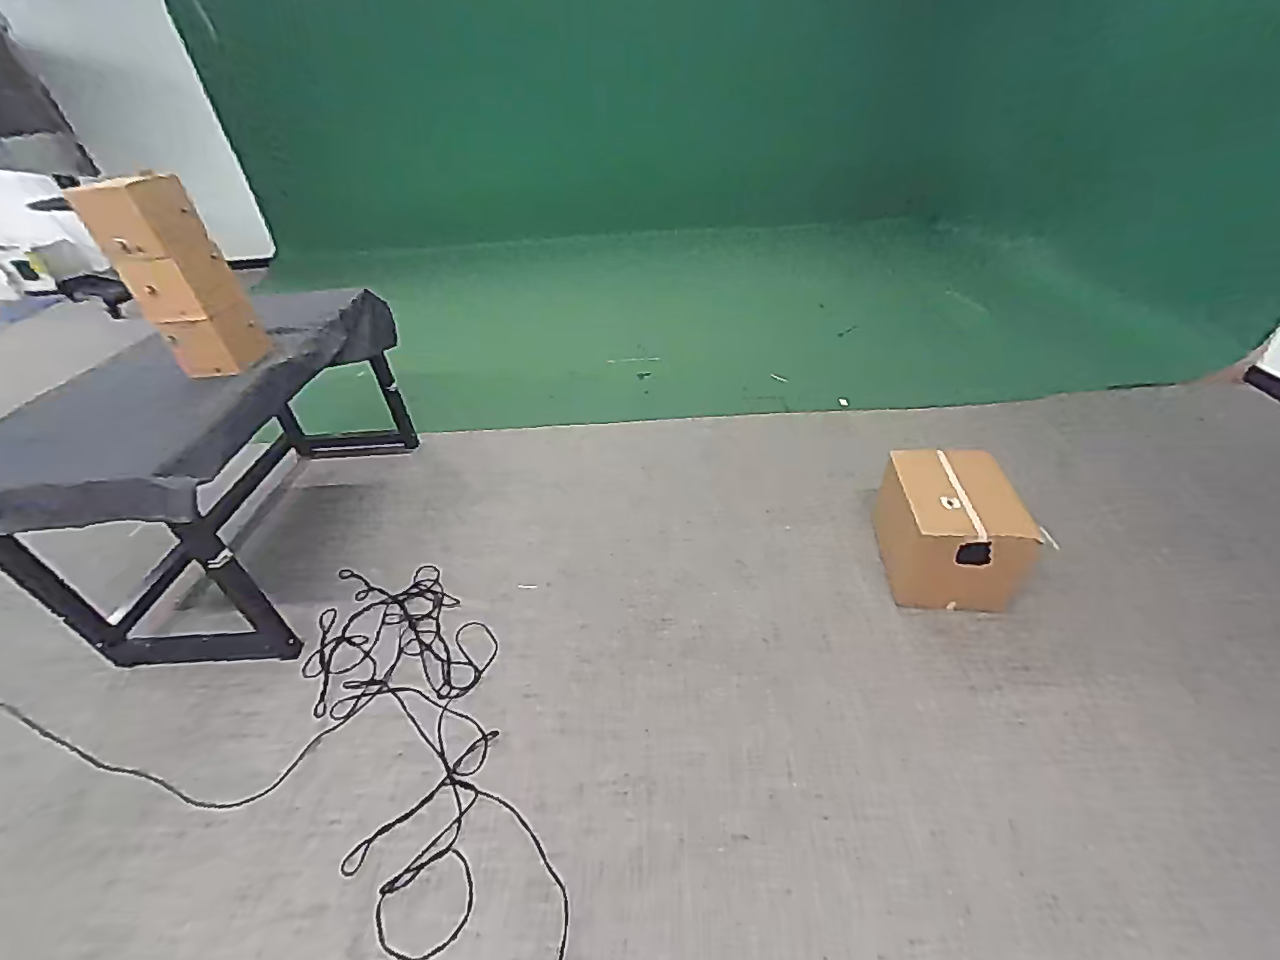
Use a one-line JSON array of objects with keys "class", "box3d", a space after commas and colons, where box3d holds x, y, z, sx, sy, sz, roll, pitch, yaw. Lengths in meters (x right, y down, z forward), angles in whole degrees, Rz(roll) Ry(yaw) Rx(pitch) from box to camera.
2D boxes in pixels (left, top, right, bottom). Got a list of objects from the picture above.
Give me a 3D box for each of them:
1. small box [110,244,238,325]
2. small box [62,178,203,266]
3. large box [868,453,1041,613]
[{"class": "small box", "box3d": [-1.260, -0.531, 1.482, 0.168, 0.176, 0.179, -3, 37, 3]}, {"class": "small box", "box3d": [-1.276, -0.659, 1.382, 0.168, 0.176, 0.179, -4, 38, 4]}, {"class": "large box", "box3d": [0.947, 0.157, 1.702, 0.320, 0.320, 0.408, 1, 40, 8]}]
